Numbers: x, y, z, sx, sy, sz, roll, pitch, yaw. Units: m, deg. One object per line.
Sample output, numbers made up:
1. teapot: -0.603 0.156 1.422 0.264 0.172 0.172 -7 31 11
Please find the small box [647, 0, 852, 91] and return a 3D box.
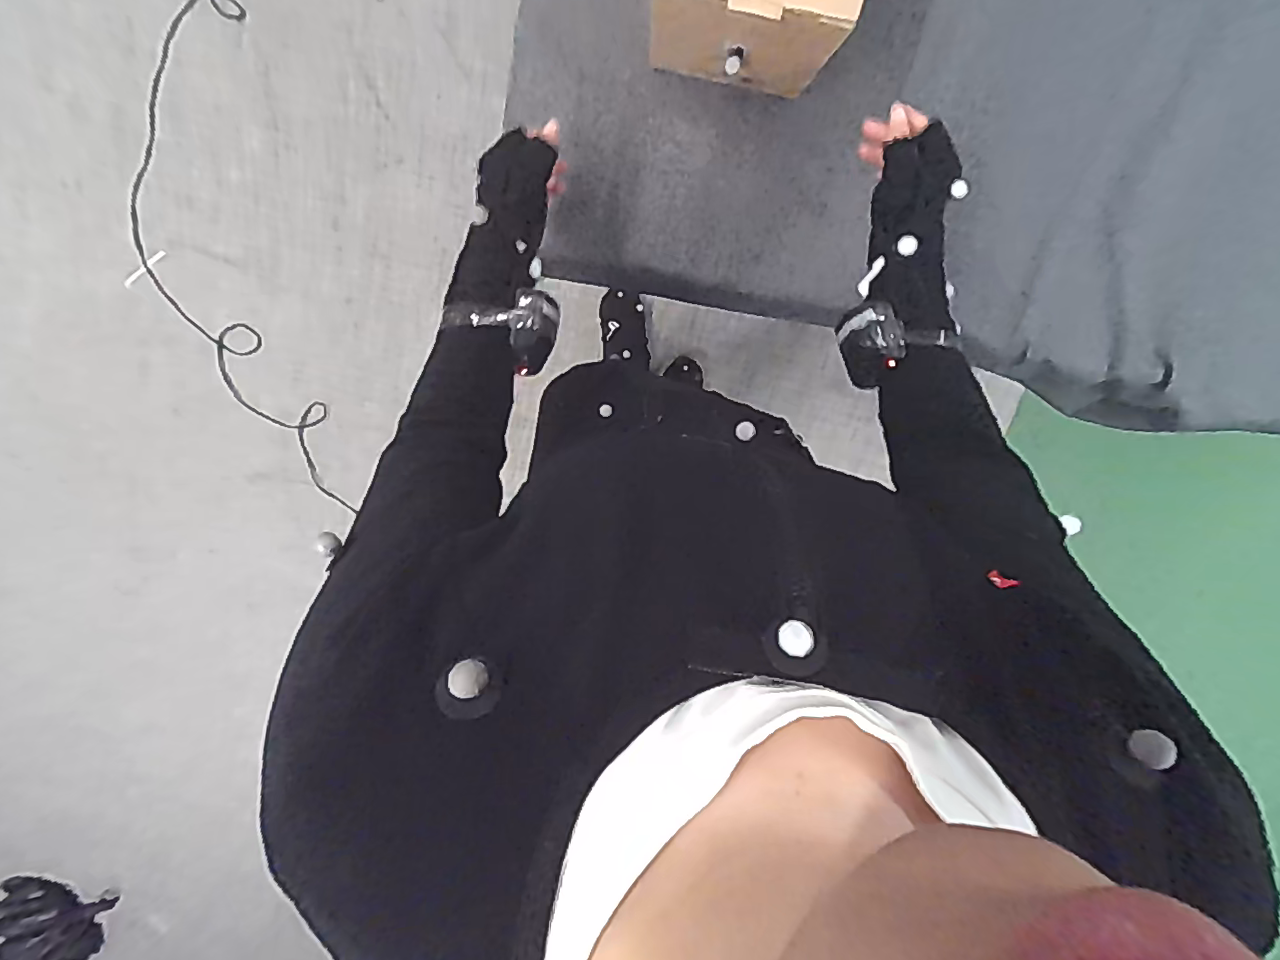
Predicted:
1. small box: 0.103 -0.481 0.481 0.168 0.176 0.179 9 109 -2
